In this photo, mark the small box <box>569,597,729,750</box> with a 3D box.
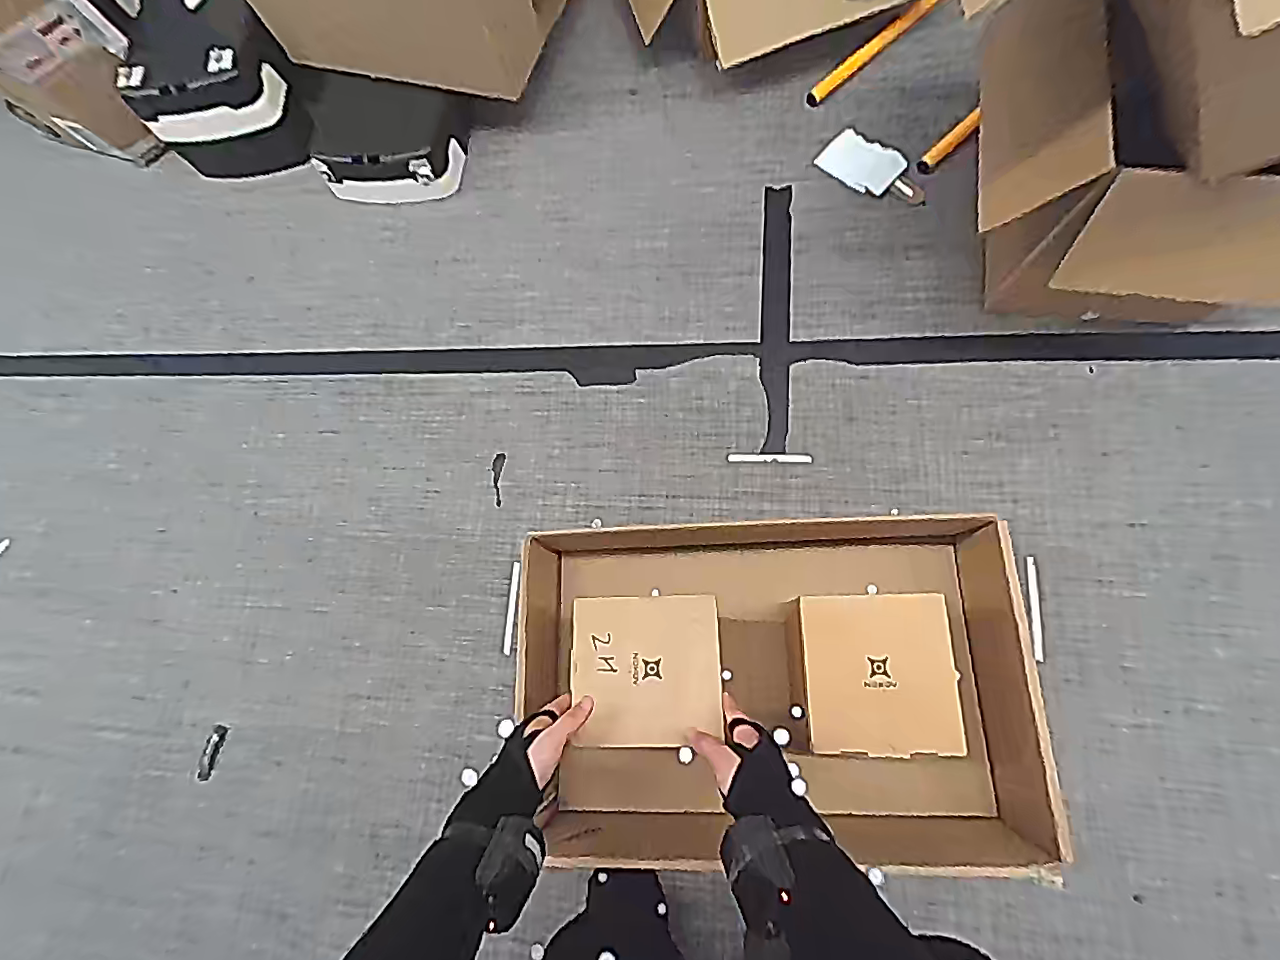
[{"bbox_3d":[0.015,0.246,0.687,0.179,0.176,0.168,-2,66,5],"label":"small box"}]

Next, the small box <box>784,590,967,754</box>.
[{"bbox_3d":[0.282,0.236,0.691,0.168,0.176,0.179,-3,75,7],"label":"small box"}]
